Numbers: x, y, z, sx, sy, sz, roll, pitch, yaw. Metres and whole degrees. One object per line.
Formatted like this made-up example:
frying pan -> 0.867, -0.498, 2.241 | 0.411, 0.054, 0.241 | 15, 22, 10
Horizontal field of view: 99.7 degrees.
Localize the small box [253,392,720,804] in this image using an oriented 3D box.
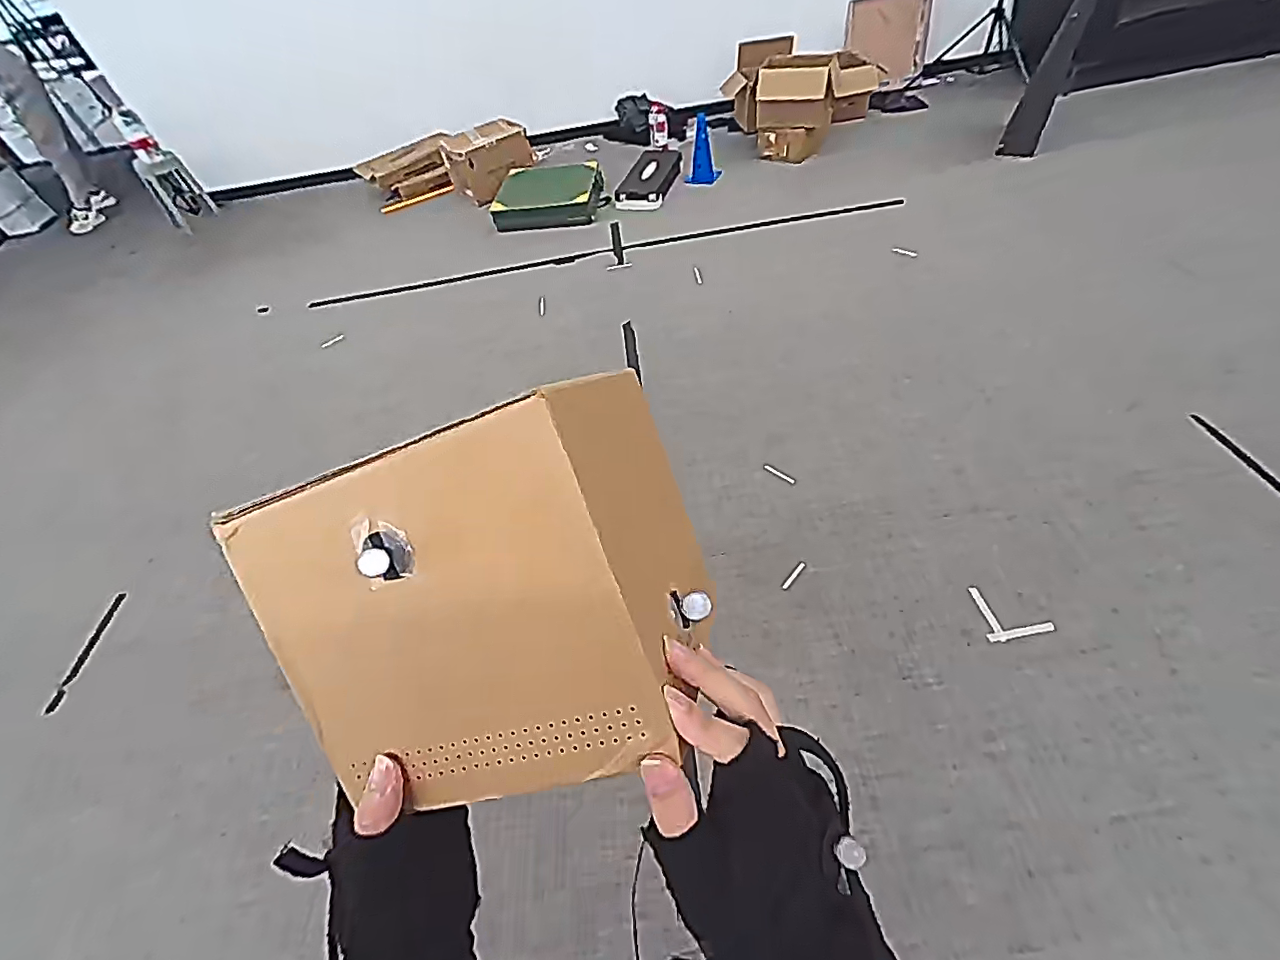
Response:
small box -> -0.066, 0.061, 0.324 | 0.179, 0.176, 0.168 | -18, 10, 16
